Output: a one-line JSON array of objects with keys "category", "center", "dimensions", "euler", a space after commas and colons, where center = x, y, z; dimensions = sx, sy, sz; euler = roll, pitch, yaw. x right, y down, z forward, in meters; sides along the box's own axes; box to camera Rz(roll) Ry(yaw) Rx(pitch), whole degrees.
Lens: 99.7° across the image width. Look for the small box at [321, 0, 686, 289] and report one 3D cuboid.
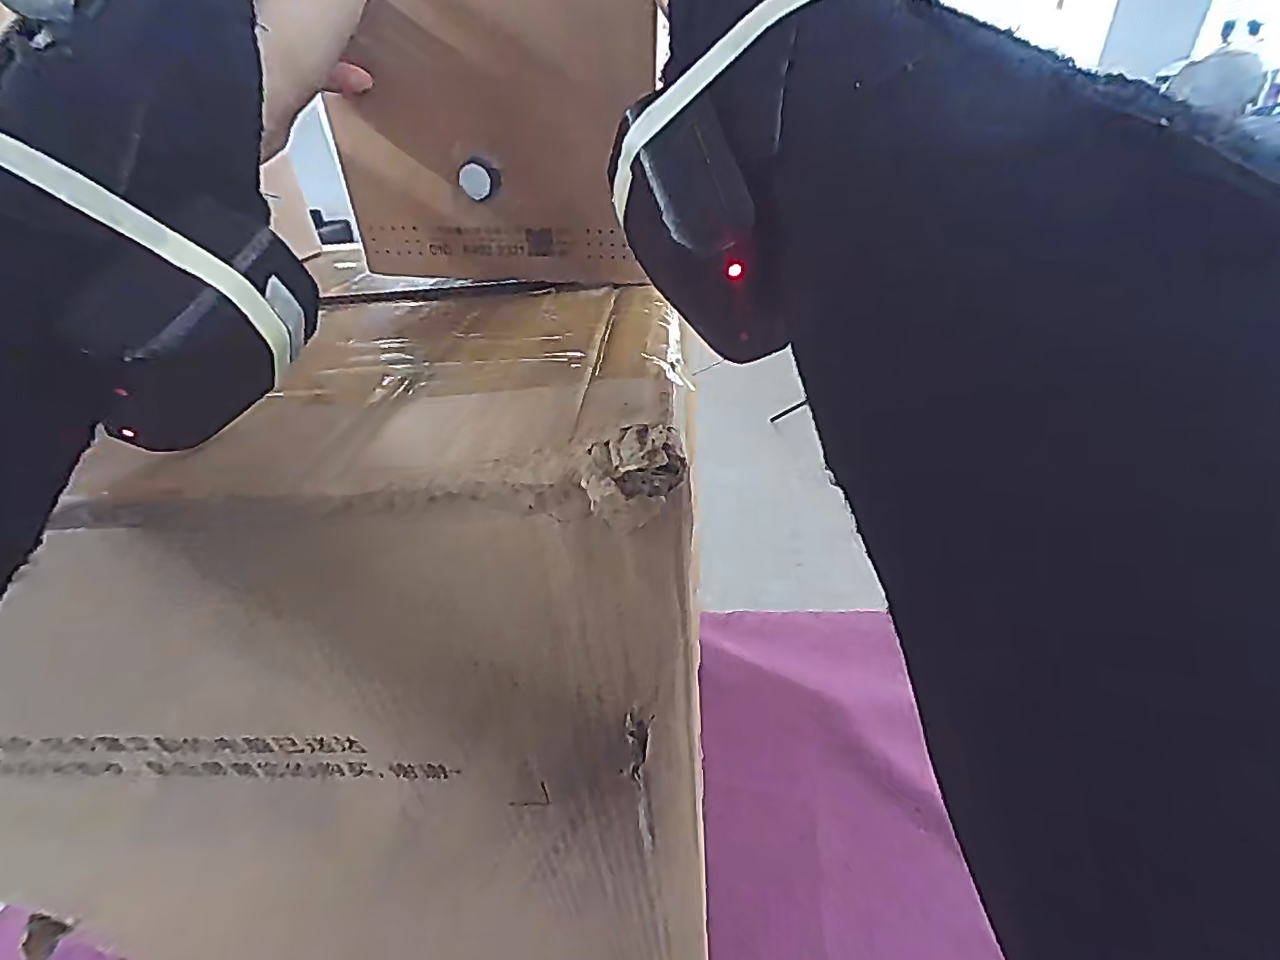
[{"category": "small box", "center": [-0.063, -0.228, 0.326], "dimensions": [0.168, 0.176, 0.179], "euler": [4, 36, 6]}]
